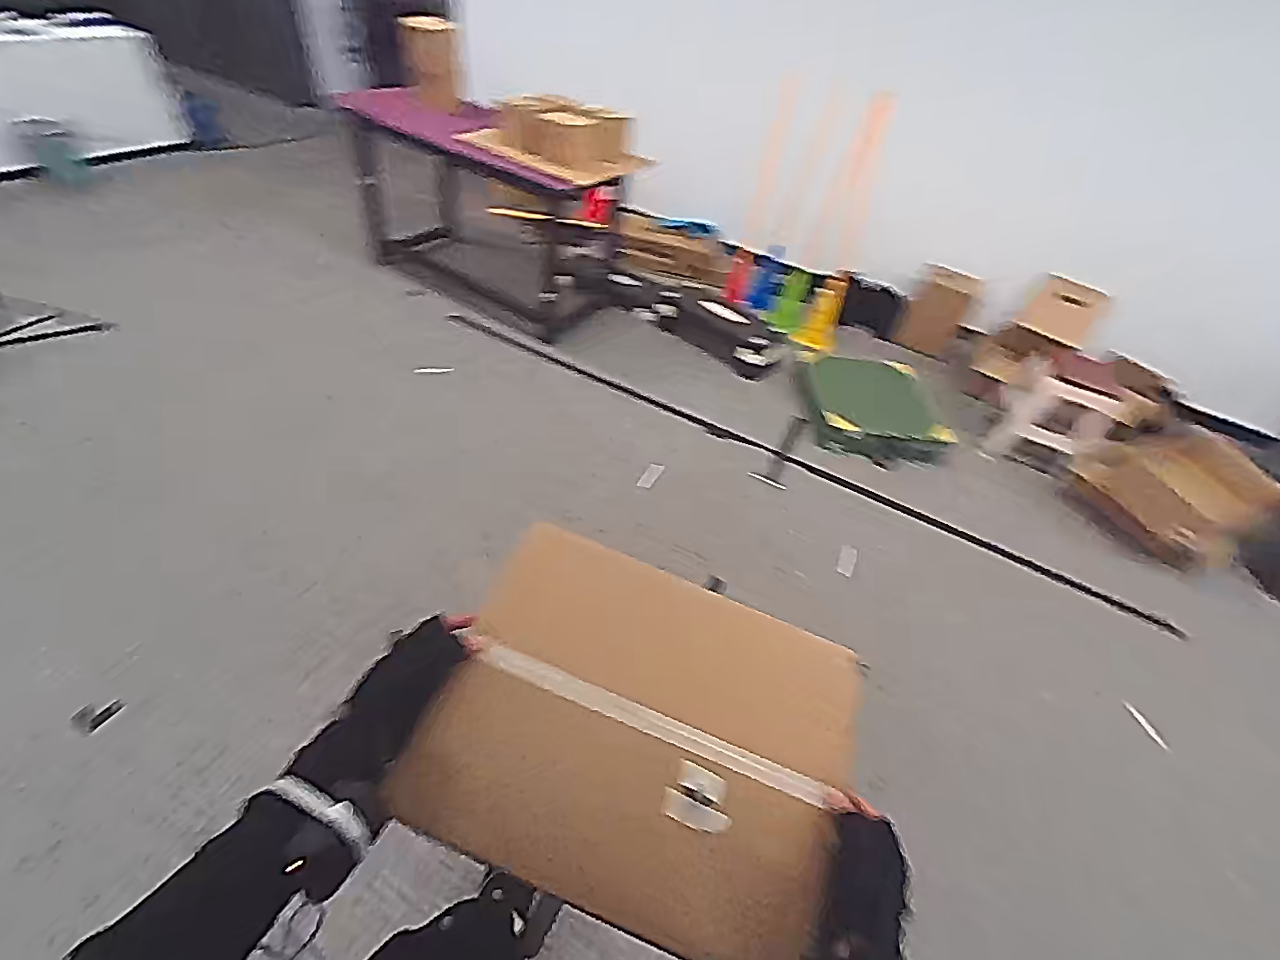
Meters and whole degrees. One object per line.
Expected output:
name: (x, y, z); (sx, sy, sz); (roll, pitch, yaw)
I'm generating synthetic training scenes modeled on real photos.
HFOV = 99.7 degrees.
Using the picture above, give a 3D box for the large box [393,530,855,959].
large box: (-0.012, 0.325, 0.672); (0.408, 0.320, 0.320); (23, 57, 5)
